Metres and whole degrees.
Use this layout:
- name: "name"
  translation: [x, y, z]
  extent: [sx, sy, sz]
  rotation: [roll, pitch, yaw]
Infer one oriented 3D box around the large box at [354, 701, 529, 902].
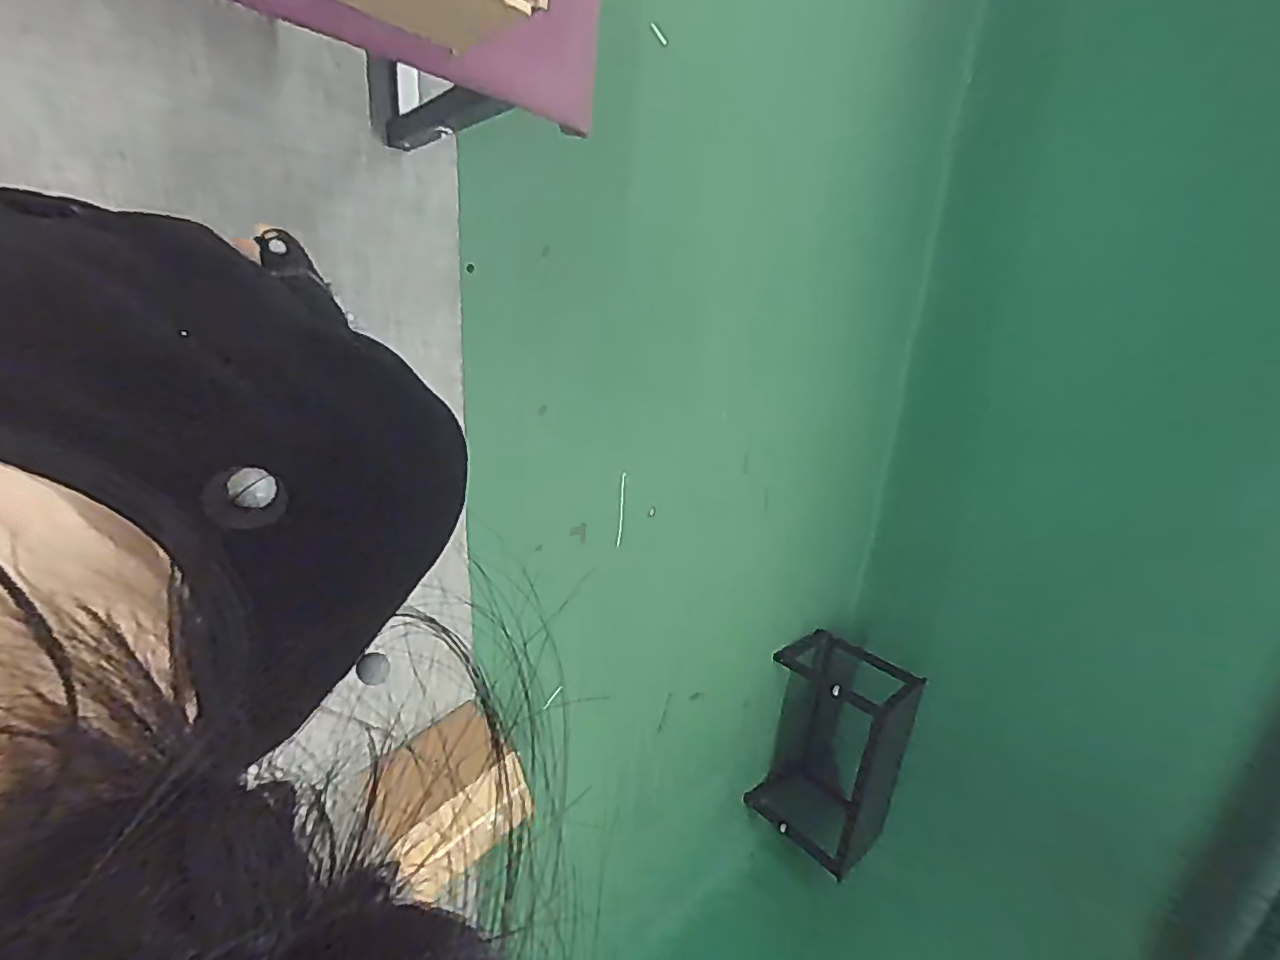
- name: "large box"
  translation: [-0.641, 1.027, 1.774]
  extent: [0.408, 0.320, 0.320]
  rotation: [-28, 124, -36]
